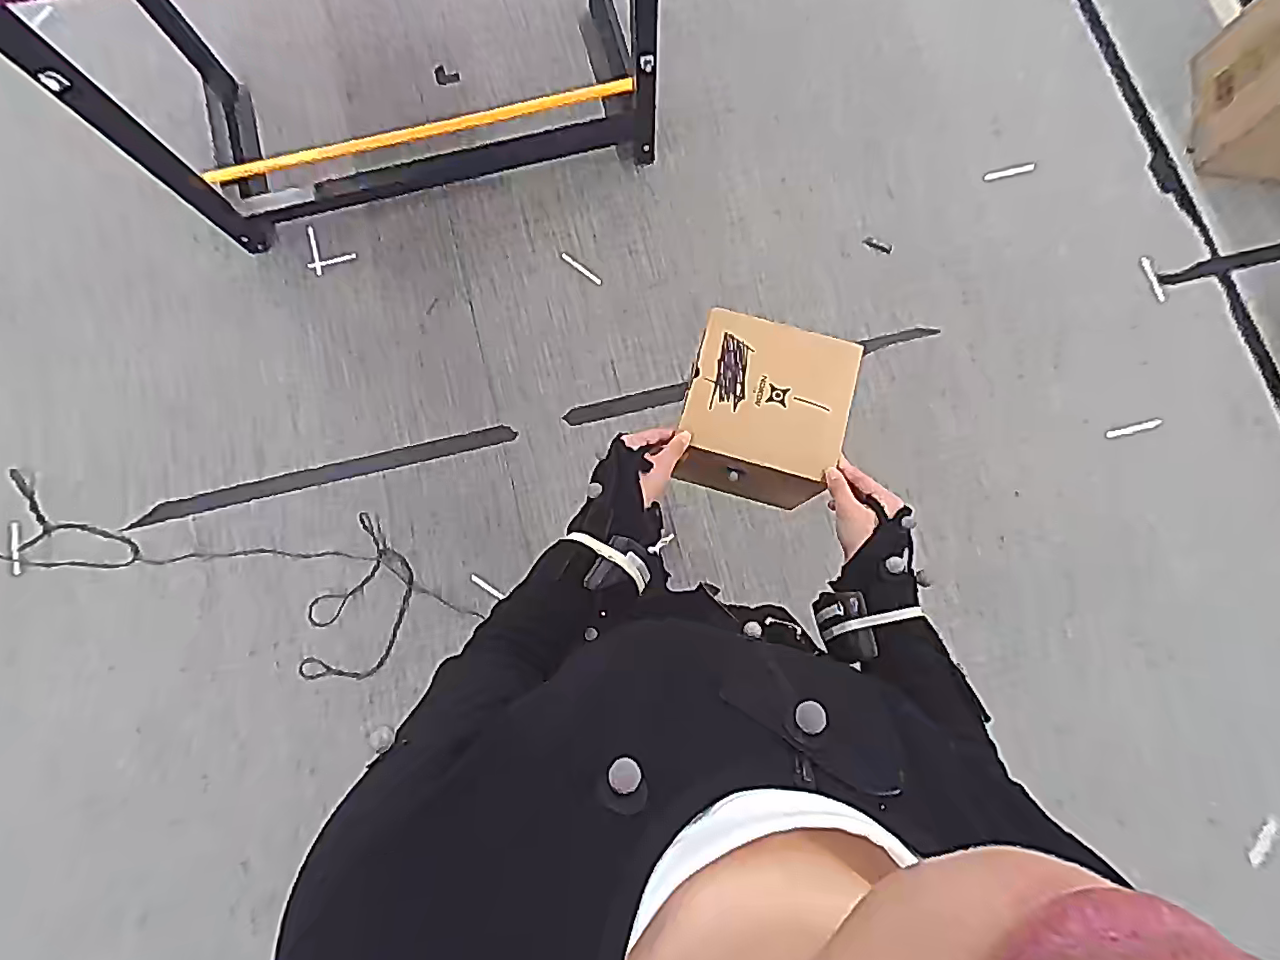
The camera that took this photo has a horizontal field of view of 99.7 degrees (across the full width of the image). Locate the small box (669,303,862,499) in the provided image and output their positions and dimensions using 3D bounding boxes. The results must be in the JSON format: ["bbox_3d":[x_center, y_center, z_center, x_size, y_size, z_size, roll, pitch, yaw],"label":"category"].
[{"bbox_3d":[0.140,-0.084,0.662,0.179,0.176,0.168,16,78,3],"label":"small box"}]
